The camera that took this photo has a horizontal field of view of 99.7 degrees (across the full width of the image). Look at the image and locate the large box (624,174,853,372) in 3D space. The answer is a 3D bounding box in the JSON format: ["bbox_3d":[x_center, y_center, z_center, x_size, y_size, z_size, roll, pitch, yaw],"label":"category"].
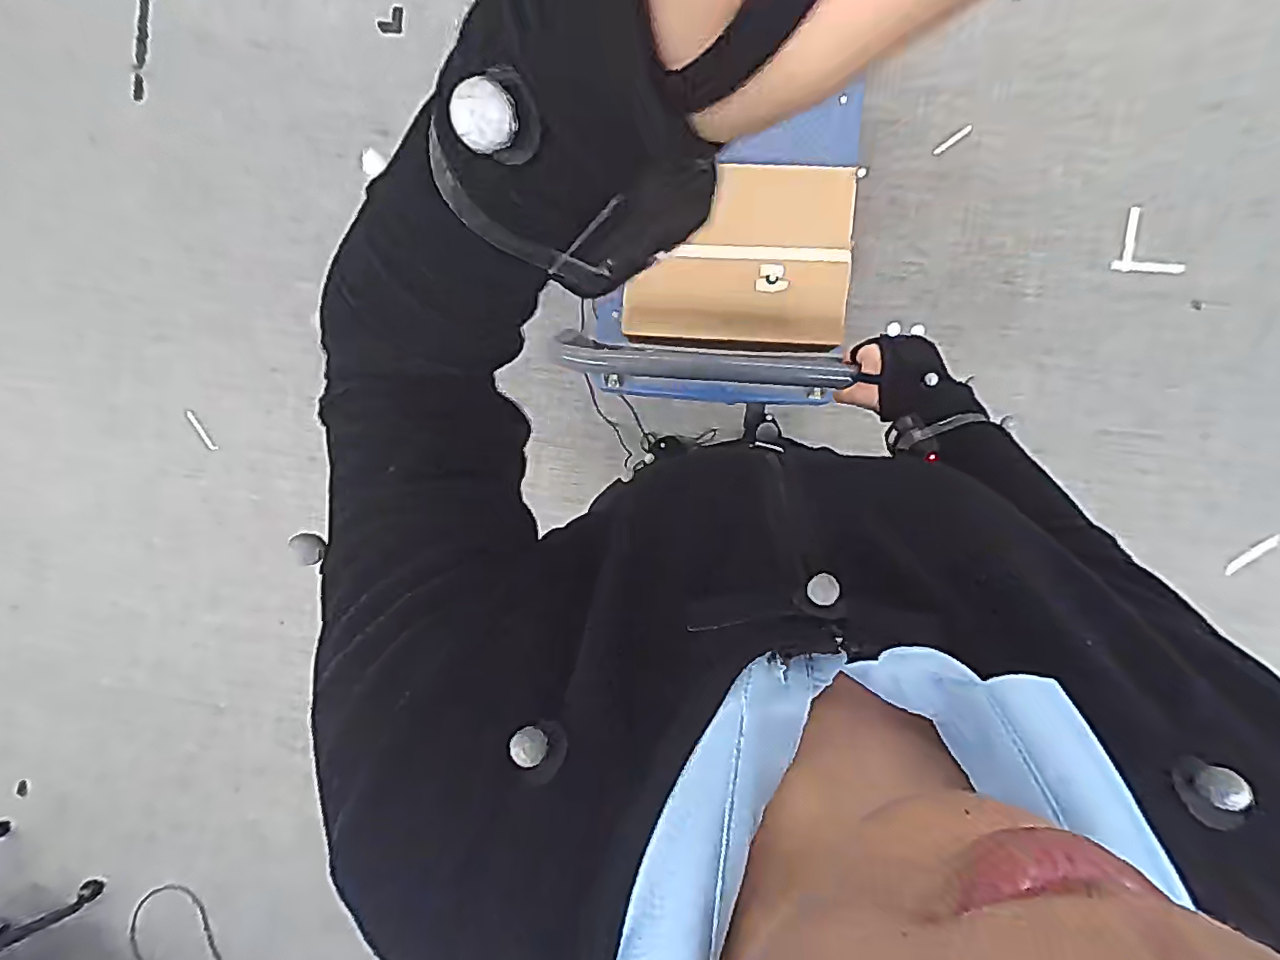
[{"bbox_3d":[0.183,-0.405,1.128,0.408,0.320,0.320,4,95,4],"label":"large box"}]
